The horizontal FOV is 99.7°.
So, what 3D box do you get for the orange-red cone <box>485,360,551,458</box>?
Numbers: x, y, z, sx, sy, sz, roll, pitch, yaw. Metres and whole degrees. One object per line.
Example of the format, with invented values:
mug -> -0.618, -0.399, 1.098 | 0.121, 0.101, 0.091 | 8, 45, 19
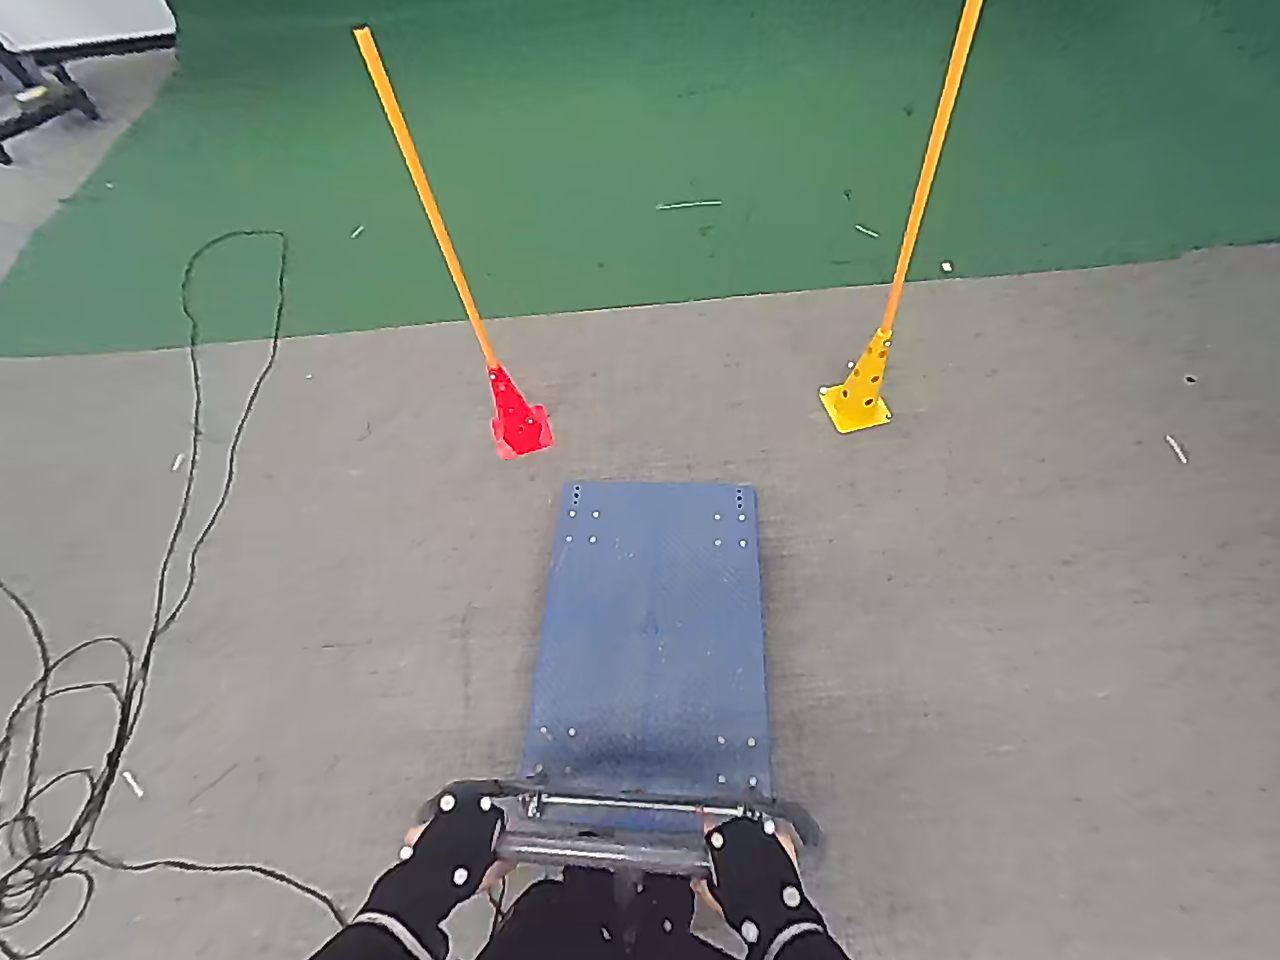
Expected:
orange-red cone -> -0.442, -0.261, 1.795 | 0.199, 0.360, 0.198 | -18, 59, -4
